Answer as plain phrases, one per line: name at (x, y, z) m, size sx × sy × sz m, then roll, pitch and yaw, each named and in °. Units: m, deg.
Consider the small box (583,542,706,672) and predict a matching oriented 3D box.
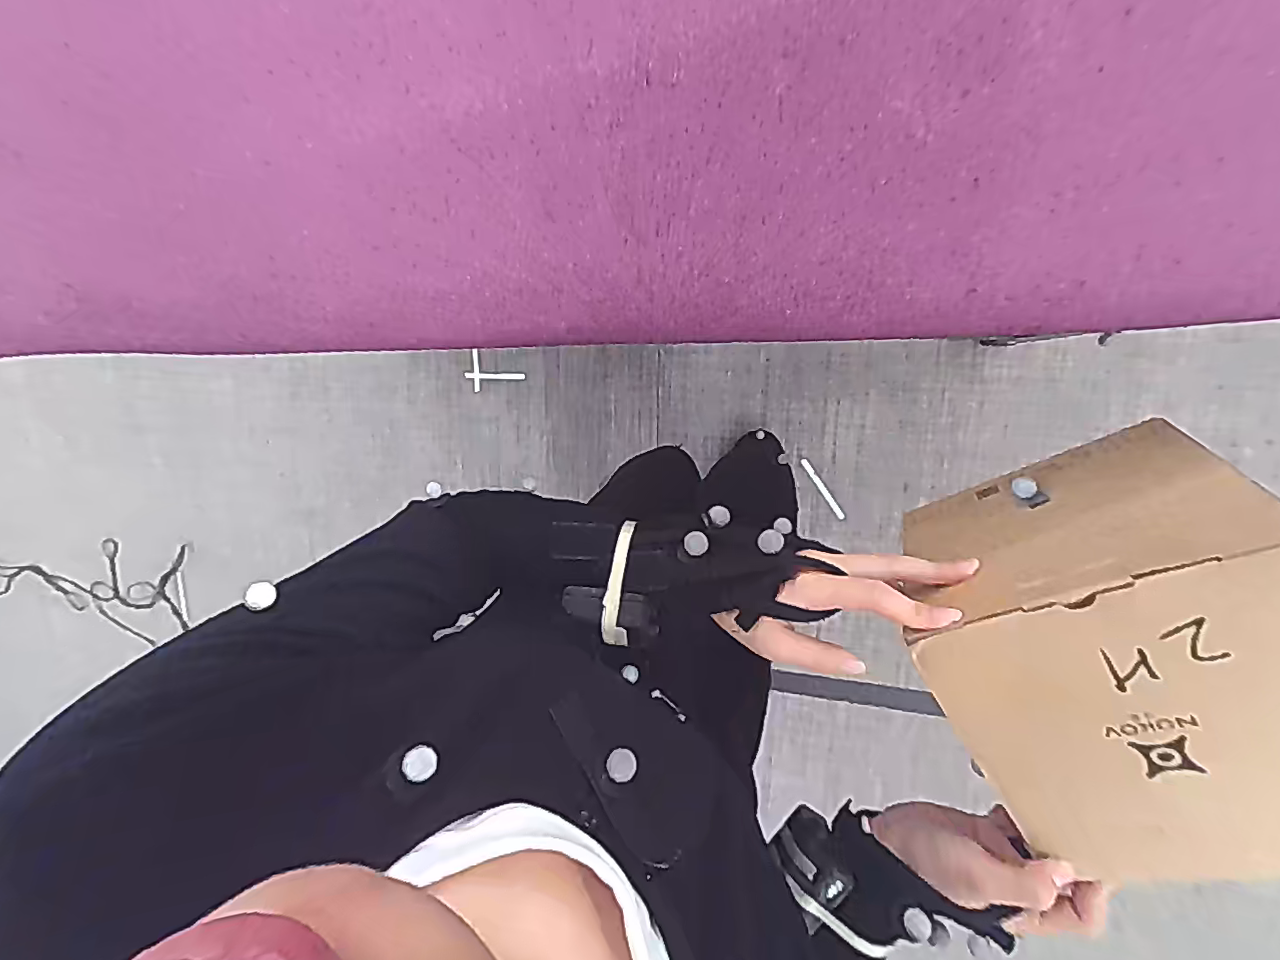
small box at (0.005, 0.237, 1.005) m, size 0.179 × 0.176 × 0.168 m, roll 21°, pitch 64°, yaw 5°
